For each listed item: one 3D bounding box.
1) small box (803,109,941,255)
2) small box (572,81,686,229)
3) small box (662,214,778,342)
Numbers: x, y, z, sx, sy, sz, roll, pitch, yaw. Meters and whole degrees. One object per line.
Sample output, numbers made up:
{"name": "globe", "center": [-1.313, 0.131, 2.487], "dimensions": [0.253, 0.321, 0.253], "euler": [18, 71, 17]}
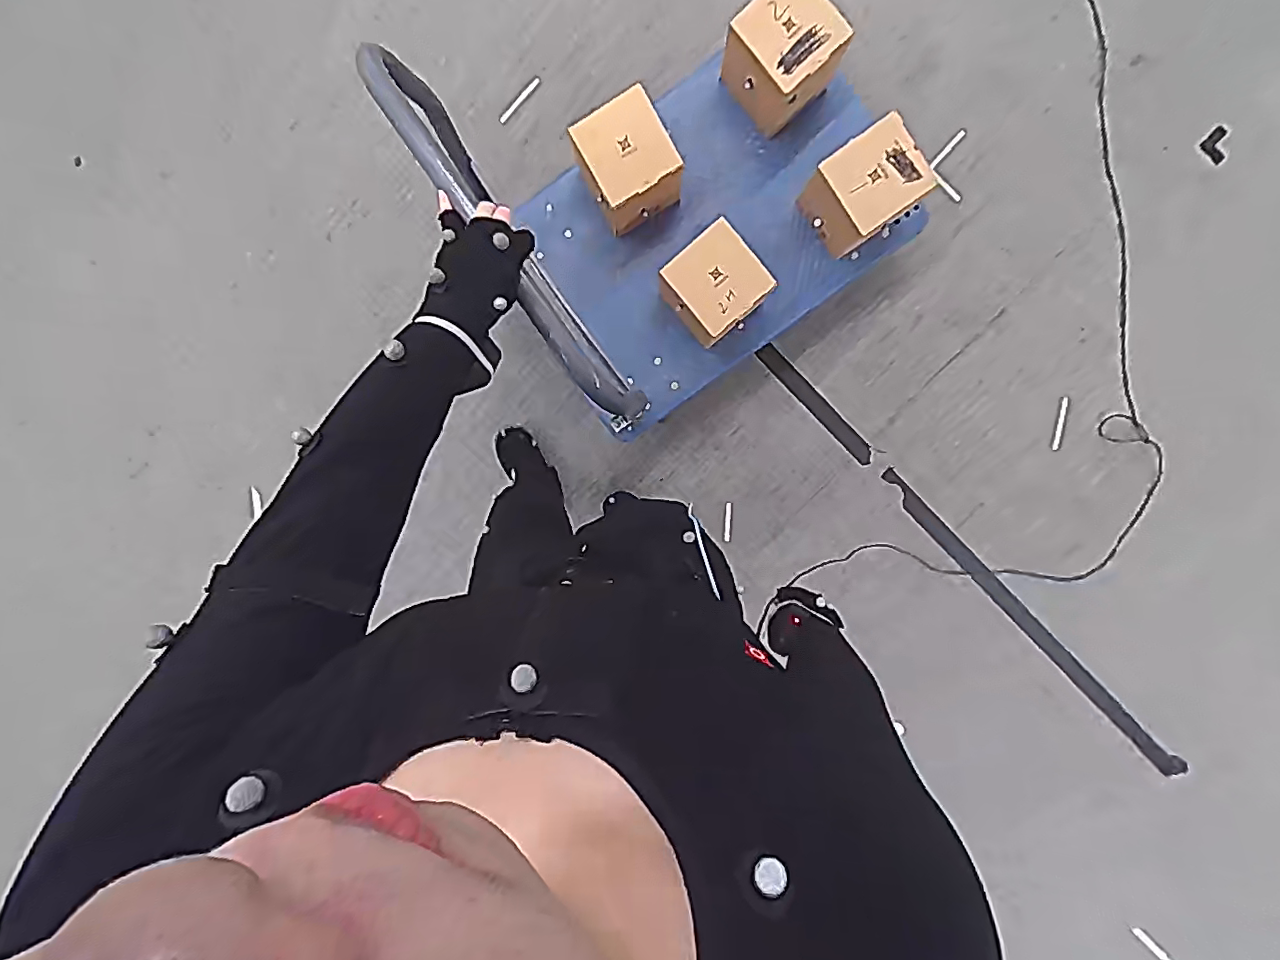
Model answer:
{"name": "small box", "center": [0.467, -0.603, 1.119], "dimensions": [0.179, 0.176, 0.168], "euler": [-34, 94, 6]}
{"name": "small box", "center": [-0.021, -0.664, 1.128], "dimensions": [0.168, 0.176, 0.179], "euler": [-31, 96, 5]}
{"name": "small box", "center": [0.160, -0.416, 1.150], "dimensions": [0.168, 0.176, 0.179], "euler": [-39, 94, 6]}
